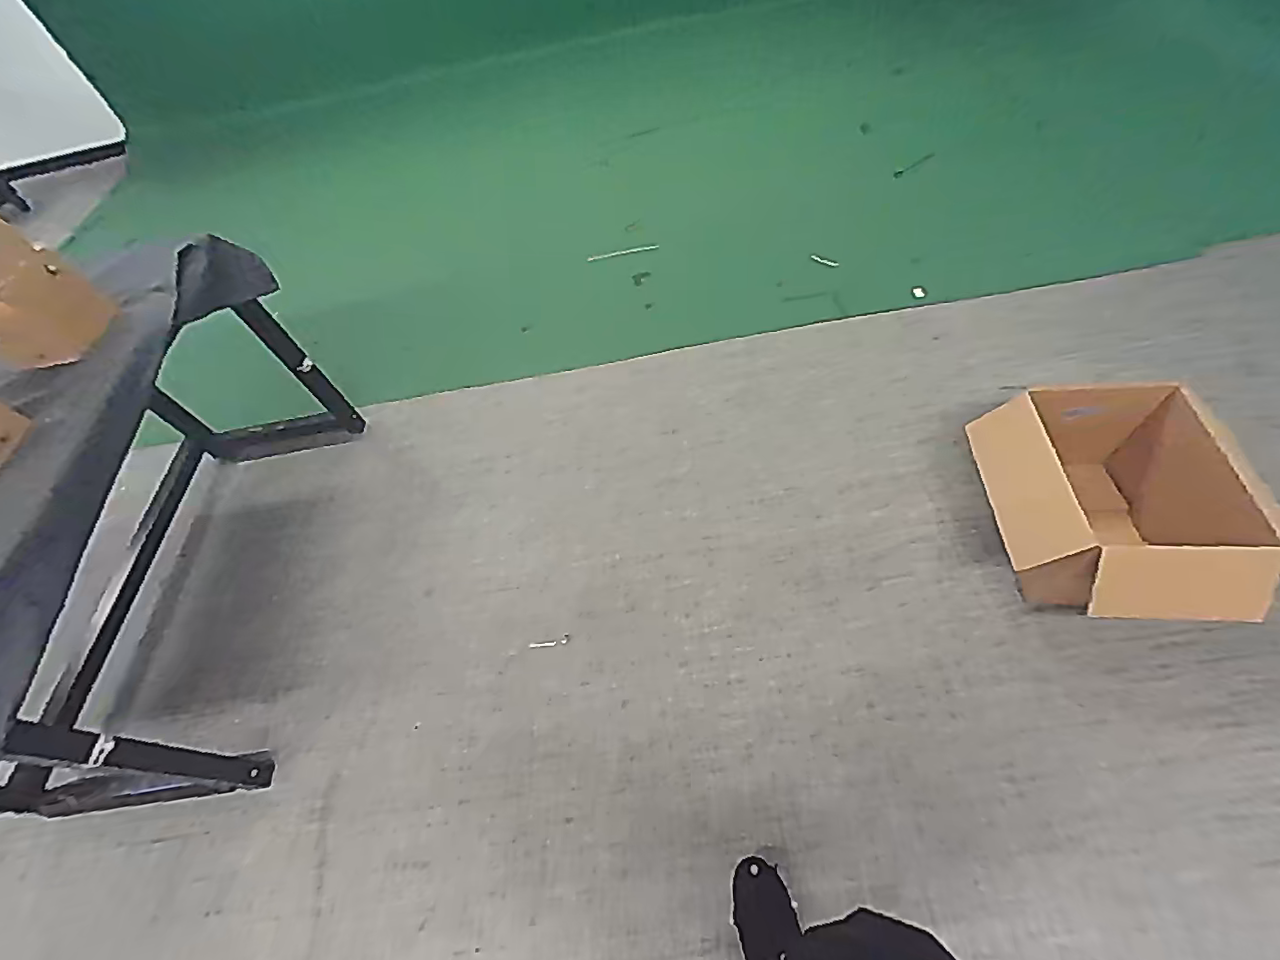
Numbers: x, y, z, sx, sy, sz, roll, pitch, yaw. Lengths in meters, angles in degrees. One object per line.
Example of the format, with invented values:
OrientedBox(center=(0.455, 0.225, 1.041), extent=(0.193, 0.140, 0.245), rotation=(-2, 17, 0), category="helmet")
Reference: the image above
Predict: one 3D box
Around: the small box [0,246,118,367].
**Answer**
OrientedBox(center=(-1.276, -0.357, 1.139), extent=(0.168, 0.176, 0.179), rotation=(-8, 54, 5), category="small box")

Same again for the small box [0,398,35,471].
OrientedBox(center=(-1.257, -0.082, 0.944), extent=(0.179, 0.176, 0.168), rotation=(-9, 55, 4), category="small box")

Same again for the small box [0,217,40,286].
OrientedBox(center=(-1.316, -0.445, 1.001), extent=(0.168, 0.176, 0.179), rotation=(-5, 55, 8), category="small box")
